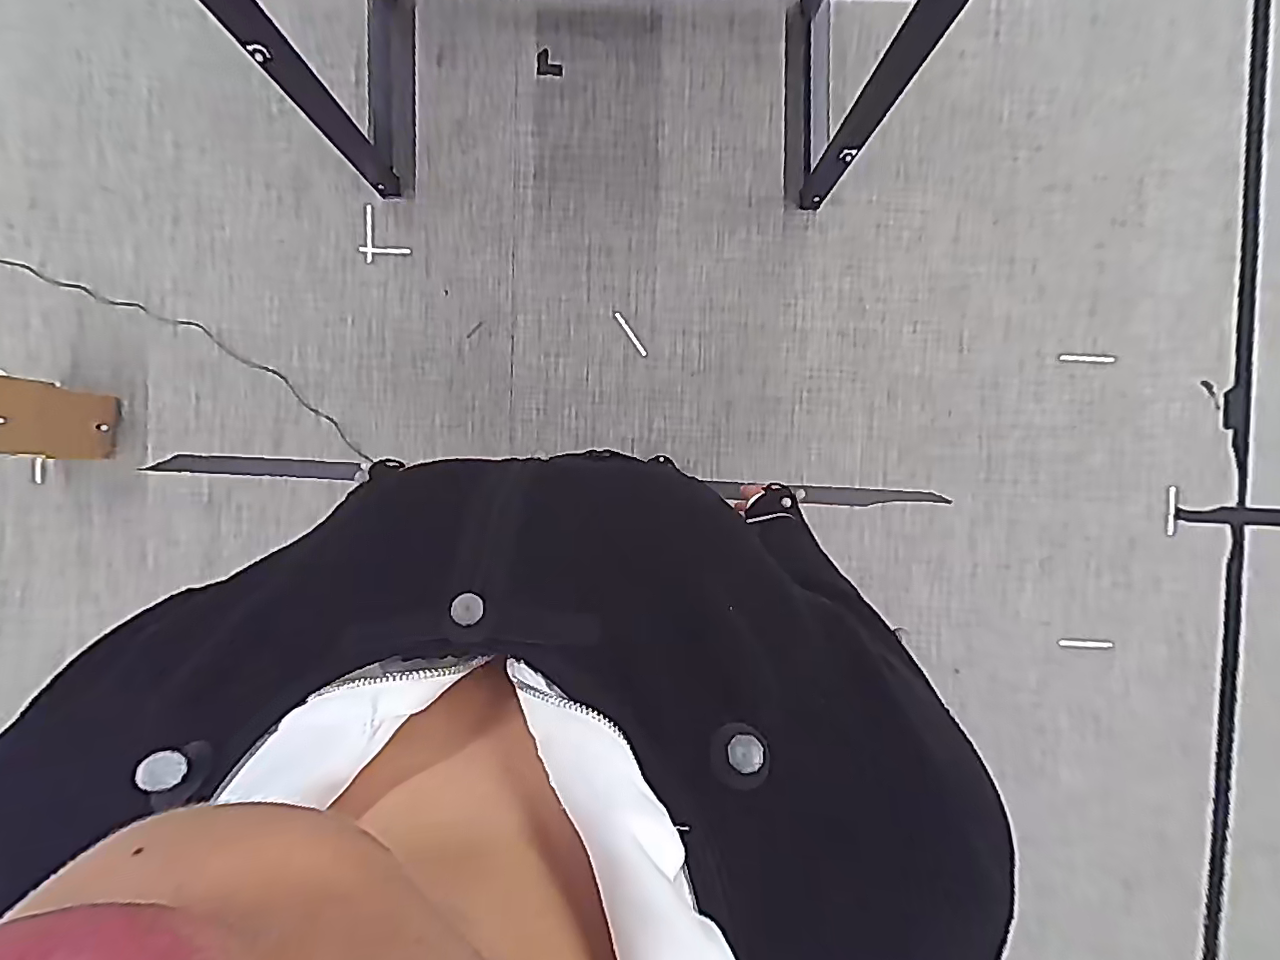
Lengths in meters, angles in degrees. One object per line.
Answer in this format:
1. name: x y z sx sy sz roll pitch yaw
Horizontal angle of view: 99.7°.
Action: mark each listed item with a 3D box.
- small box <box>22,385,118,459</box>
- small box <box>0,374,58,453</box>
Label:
1. small box: -1.498 -0.153 1.381 0.168 0.176 0.179 9 91 -2
2. small box: -1.478 -0.152 1.216 0.168 0.176 0.179 3 91 -2
